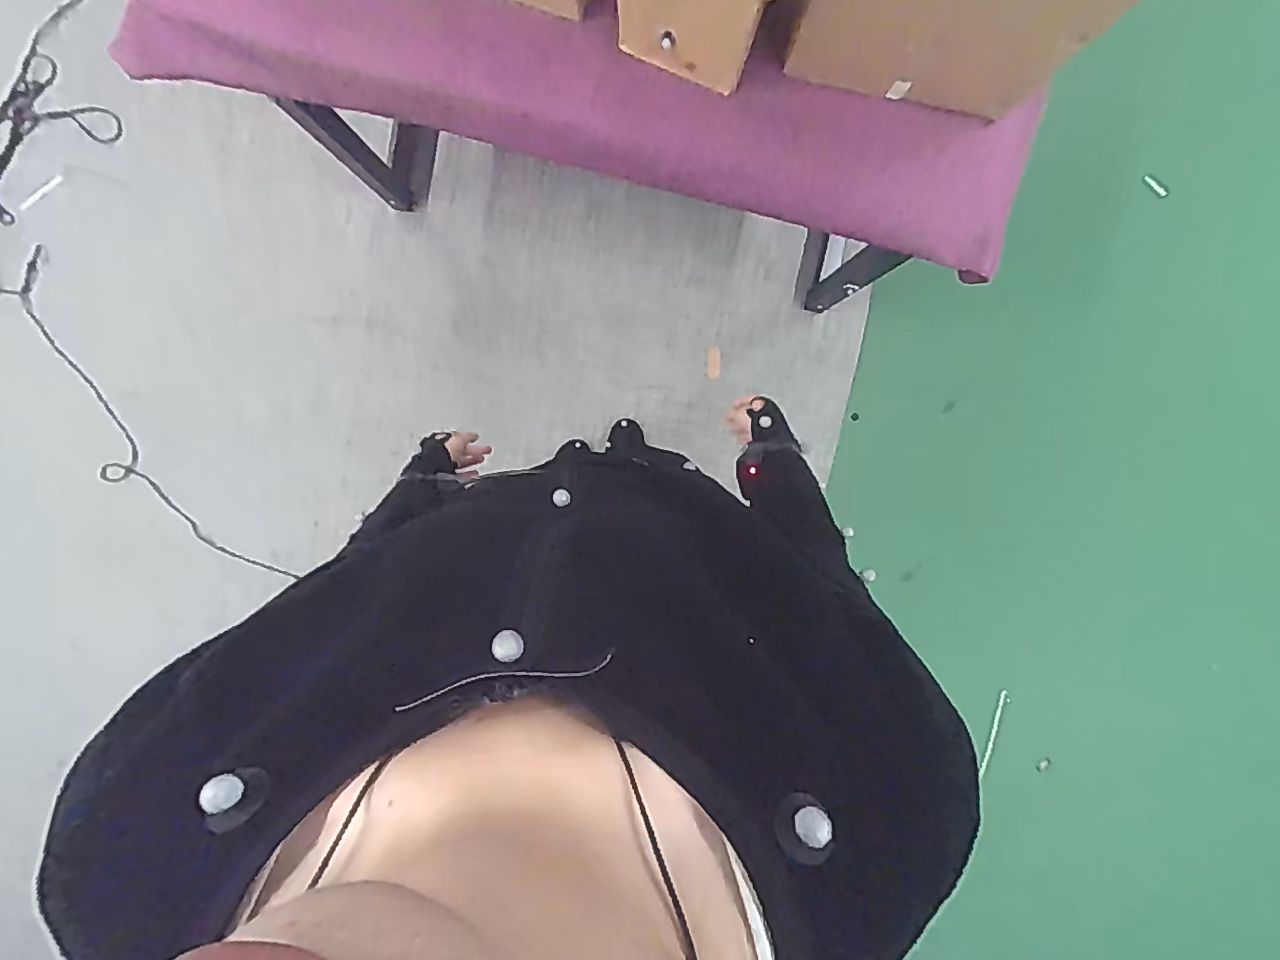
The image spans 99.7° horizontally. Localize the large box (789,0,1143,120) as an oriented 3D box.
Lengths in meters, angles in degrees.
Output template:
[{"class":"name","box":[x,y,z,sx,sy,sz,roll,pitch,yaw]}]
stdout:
[{"class":"large box","box":[0.384,-0.697,0.570,0.320,0.320,0.408,12,96,0]}]
